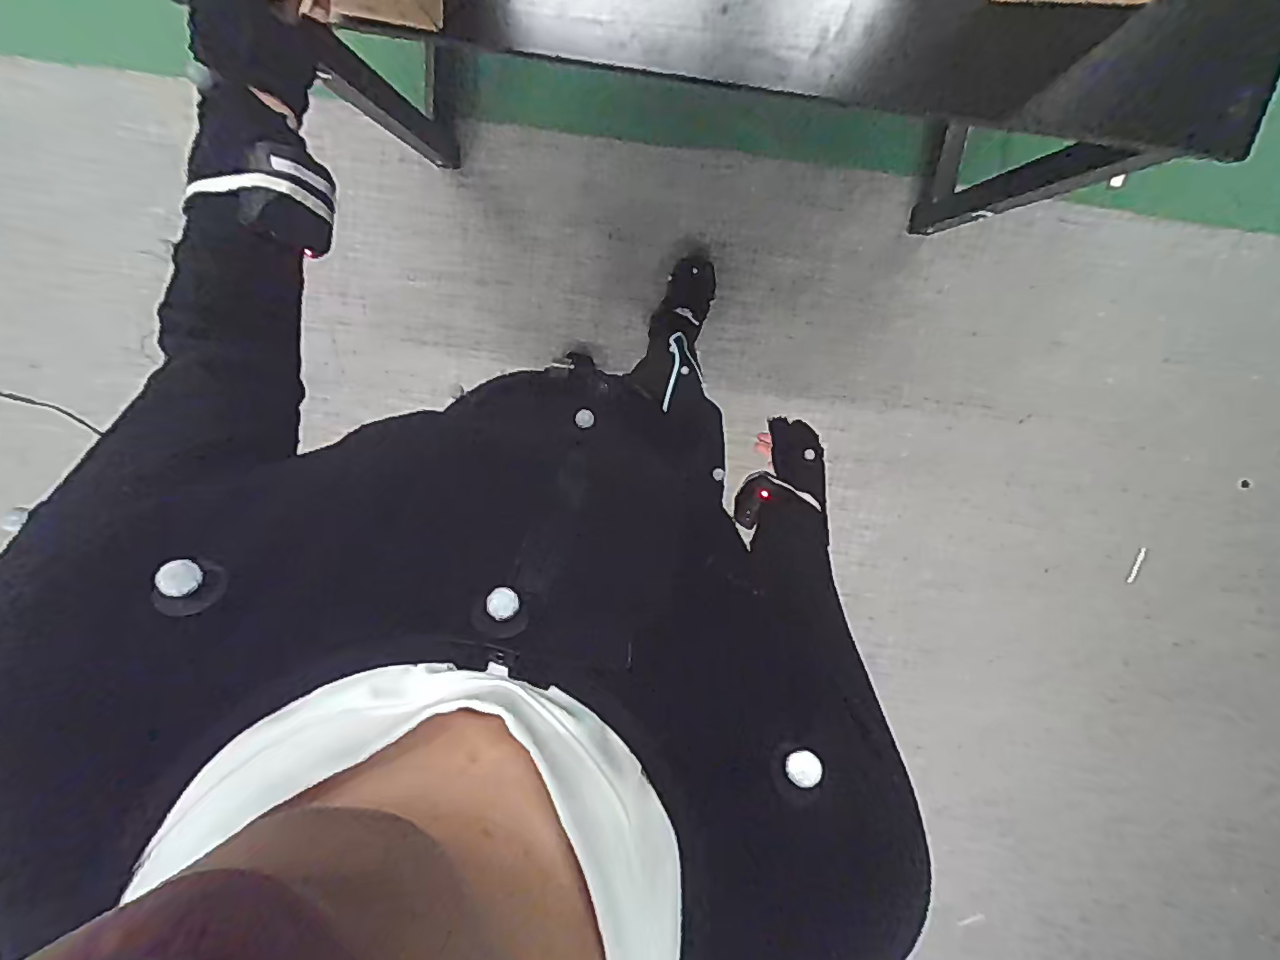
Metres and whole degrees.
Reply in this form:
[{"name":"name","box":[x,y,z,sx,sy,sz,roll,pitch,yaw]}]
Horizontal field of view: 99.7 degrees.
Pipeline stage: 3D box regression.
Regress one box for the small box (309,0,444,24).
[{"name":"small box","box":[-0.264,-0.519,0.435,0.168,0.176,0.179,8,113,-3]}]
